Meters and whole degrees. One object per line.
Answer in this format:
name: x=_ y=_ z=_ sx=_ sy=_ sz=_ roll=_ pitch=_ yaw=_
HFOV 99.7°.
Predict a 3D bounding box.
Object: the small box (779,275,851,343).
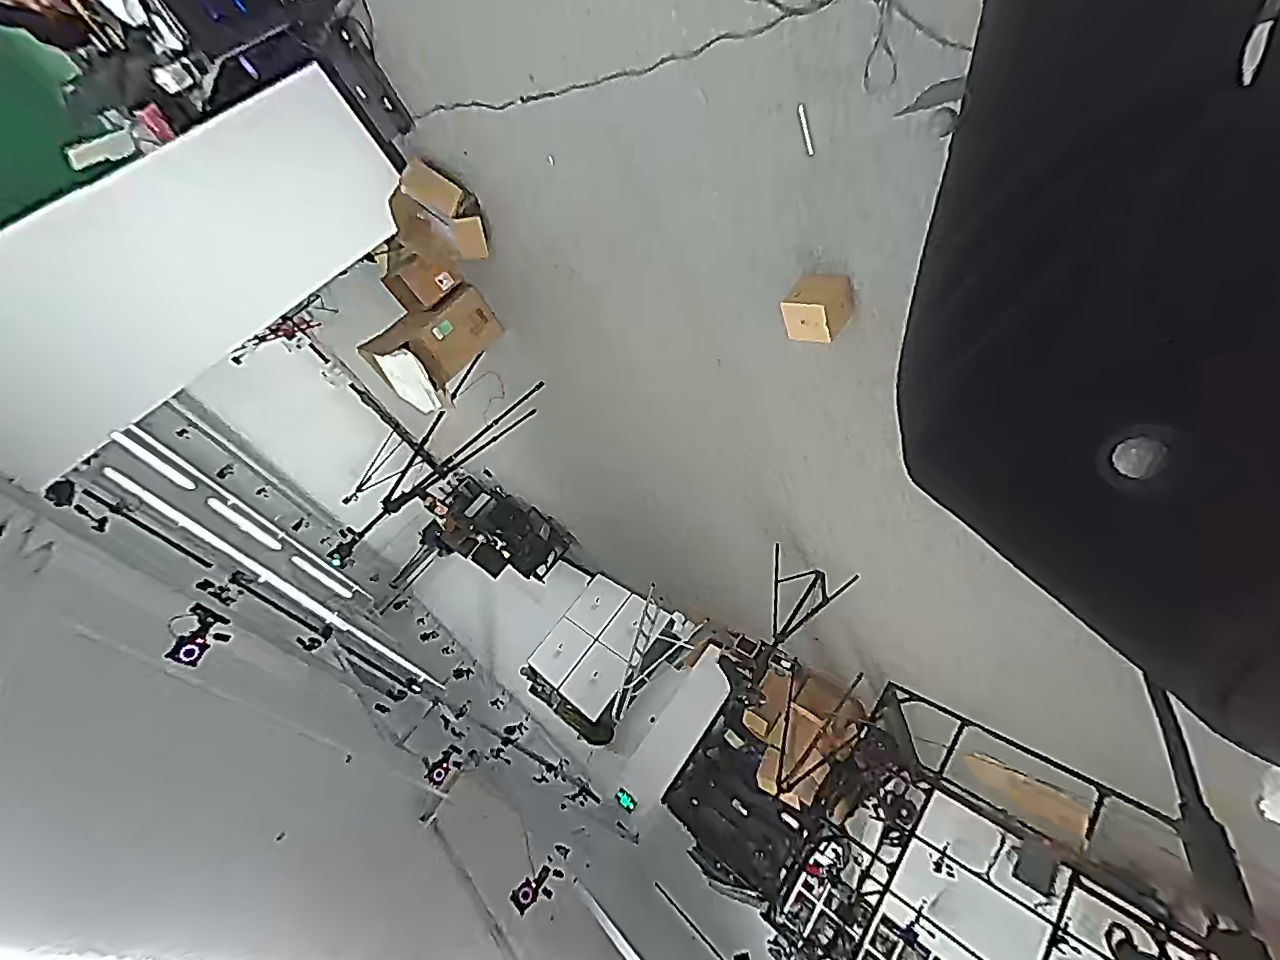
small box: x=0.635 y=-0.621 z=1.955 sx=0.179 sy=0.176 sz=0.168 roll=21 pitch=154 yaw=42
